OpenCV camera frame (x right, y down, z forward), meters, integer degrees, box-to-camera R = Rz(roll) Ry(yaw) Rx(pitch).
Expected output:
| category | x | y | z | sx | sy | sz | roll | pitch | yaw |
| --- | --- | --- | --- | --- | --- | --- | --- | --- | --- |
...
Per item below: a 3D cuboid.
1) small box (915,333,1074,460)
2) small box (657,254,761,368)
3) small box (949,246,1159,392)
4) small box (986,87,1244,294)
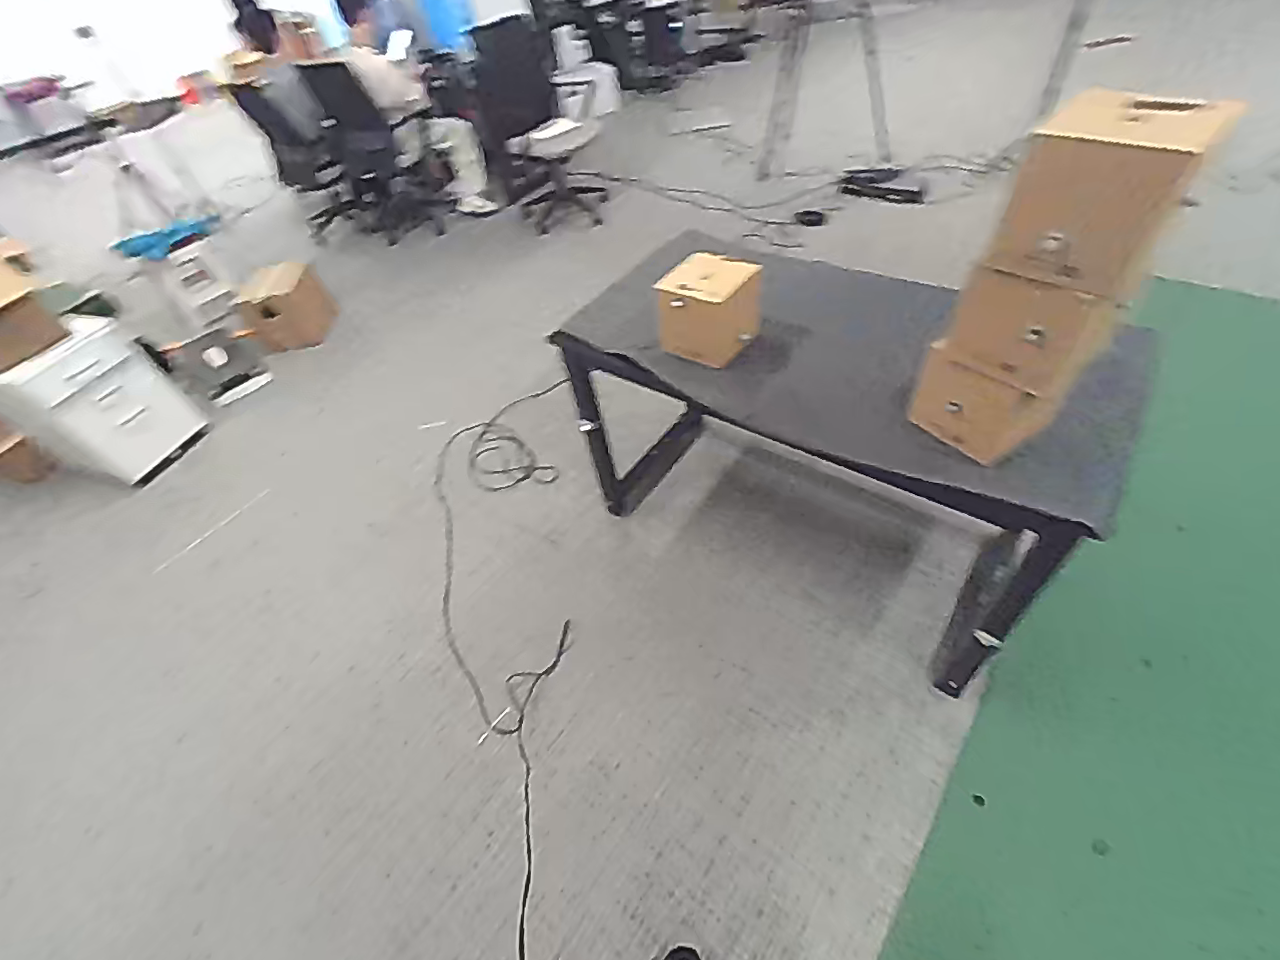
| category | x | y | z | sx | sy | sz | roll | pitch | yaw |
| --- | --- | --- | --- | --- | --- | --- | --- | --- | --- |
| small box | 0.608 | -0.164 | 0.936 | 0.179 | 0.176 | 0.168 | -28 | 49 | -17 |
| small box | 0.157 | -0.385 | 1.232 | 0.168 | 0.176 | 0.179 | 26 | 56 | 30 |
| small box | 0.594 | -0.259 | 0.805 | 0.179 | 0.176 | 0.168 | -32 | 51 | -20 |
| small box | 0.575 | -0.363 | 0.679 | 0.179 | 0.176 | 0.168 | -38 | 53 | -23 |
